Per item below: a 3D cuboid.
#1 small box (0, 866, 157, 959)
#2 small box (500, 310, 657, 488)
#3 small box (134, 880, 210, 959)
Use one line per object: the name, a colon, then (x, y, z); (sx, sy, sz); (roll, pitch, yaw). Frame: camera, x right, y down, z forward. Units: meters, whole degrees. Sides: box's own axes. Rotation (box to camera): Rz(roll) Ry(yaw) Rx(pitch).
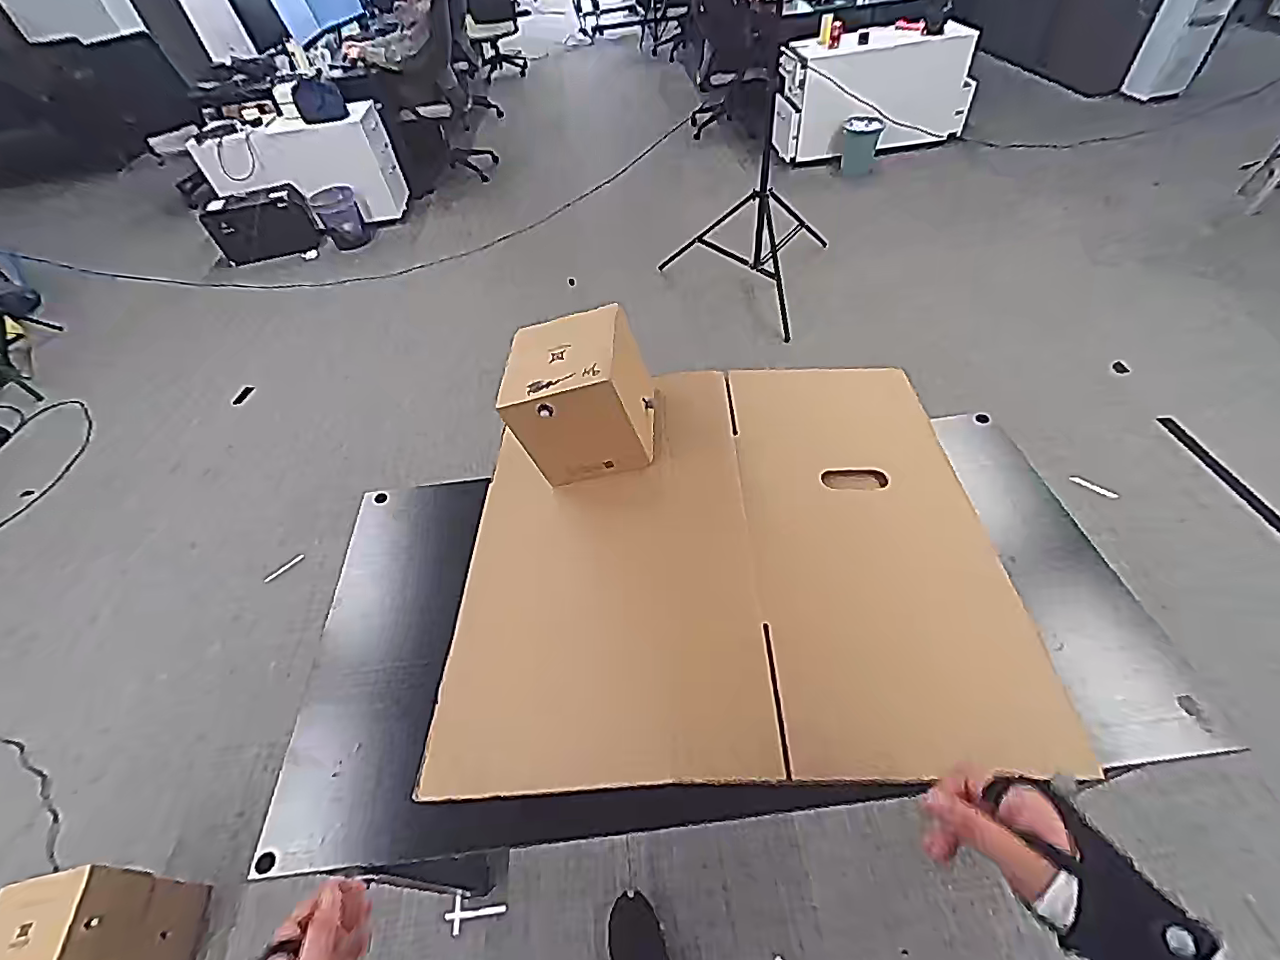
small box: (-1.088, 0.871, 1.032); (0.168, 0.176, 0.179); (-12, 48, -5)
small box: (-0.078, -0.115, 0.800); (0.168, 0.176, 0.179); (-12, 46, 16)
small box: (-1.071, 0.981, 1.150); (0.168, 0.176, 0.179); (-11, 49, -2)
